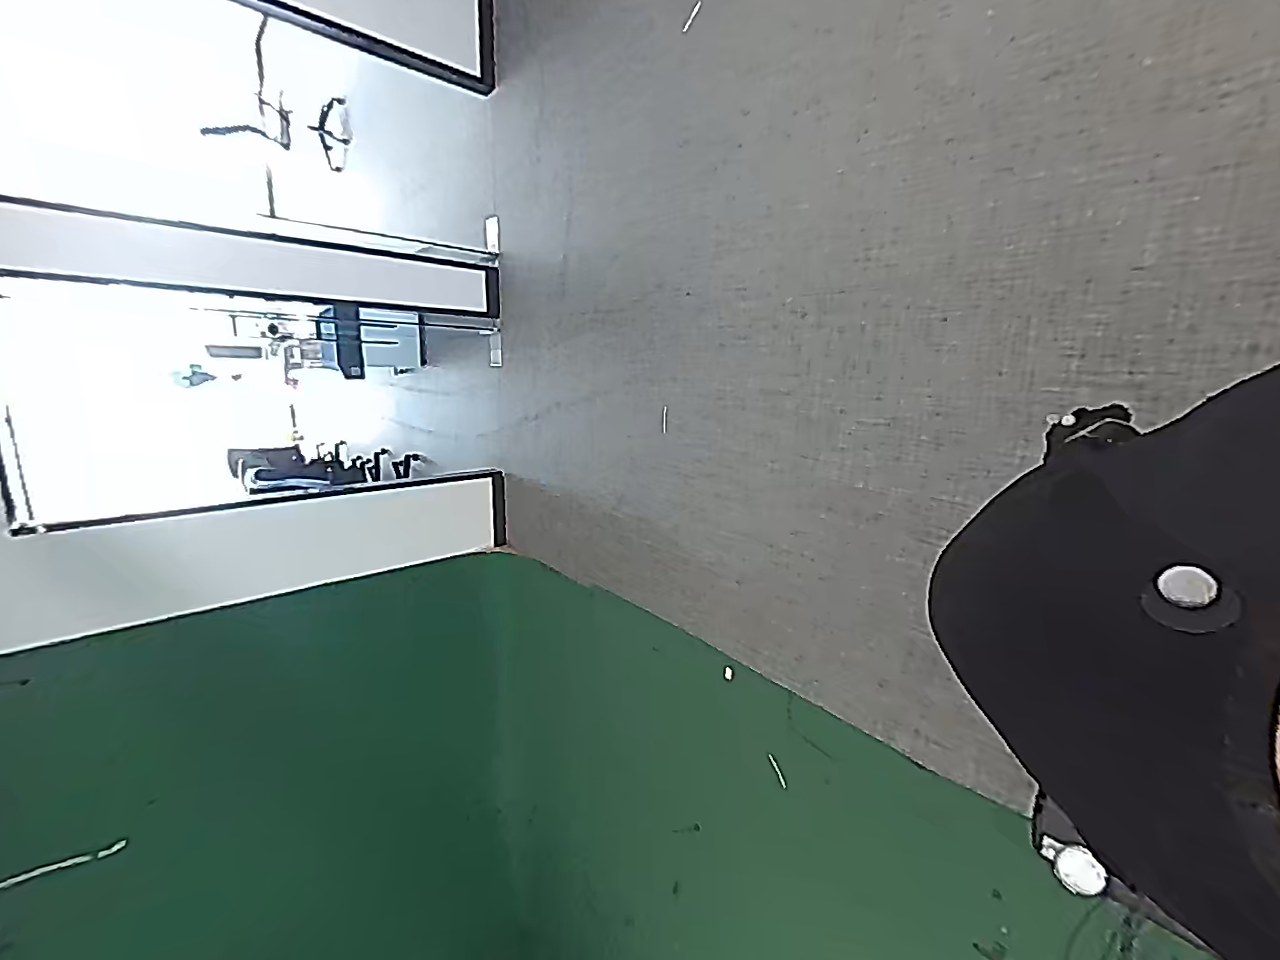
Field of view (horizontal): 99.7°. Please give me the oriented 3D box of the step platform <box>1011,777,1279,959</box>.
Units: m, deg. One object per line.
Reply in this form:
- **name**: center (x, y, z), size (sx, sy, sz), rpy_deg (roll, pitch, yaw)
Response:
- **step platform**: center (1.019, 0.797, 0.859), size (0.684, 0.204, 0.286), rpy_deg (14, 107, 46)
